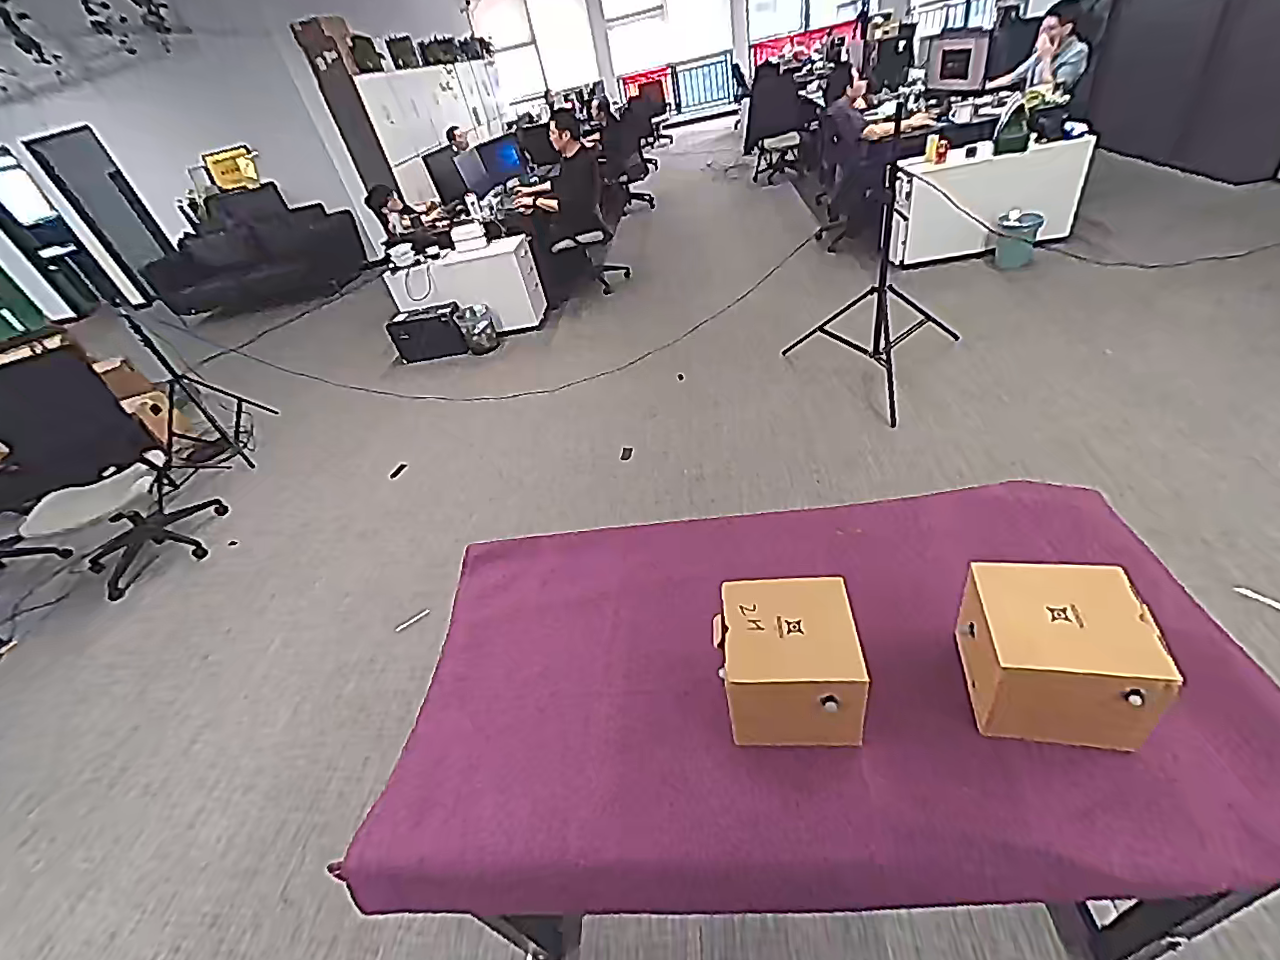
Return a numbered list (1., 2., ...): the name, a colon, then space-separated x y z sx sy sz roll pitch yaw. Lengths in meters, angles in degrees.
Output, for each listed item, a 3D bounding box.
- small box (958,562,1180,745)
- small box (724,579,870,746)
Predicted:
1. small box: 0.539 0.228 0.716 0.179 0.176 0.168 -1 40 17
2. small box: 0.216 0.263 0.778 0.179 0.176 0.168 -6 38 11
